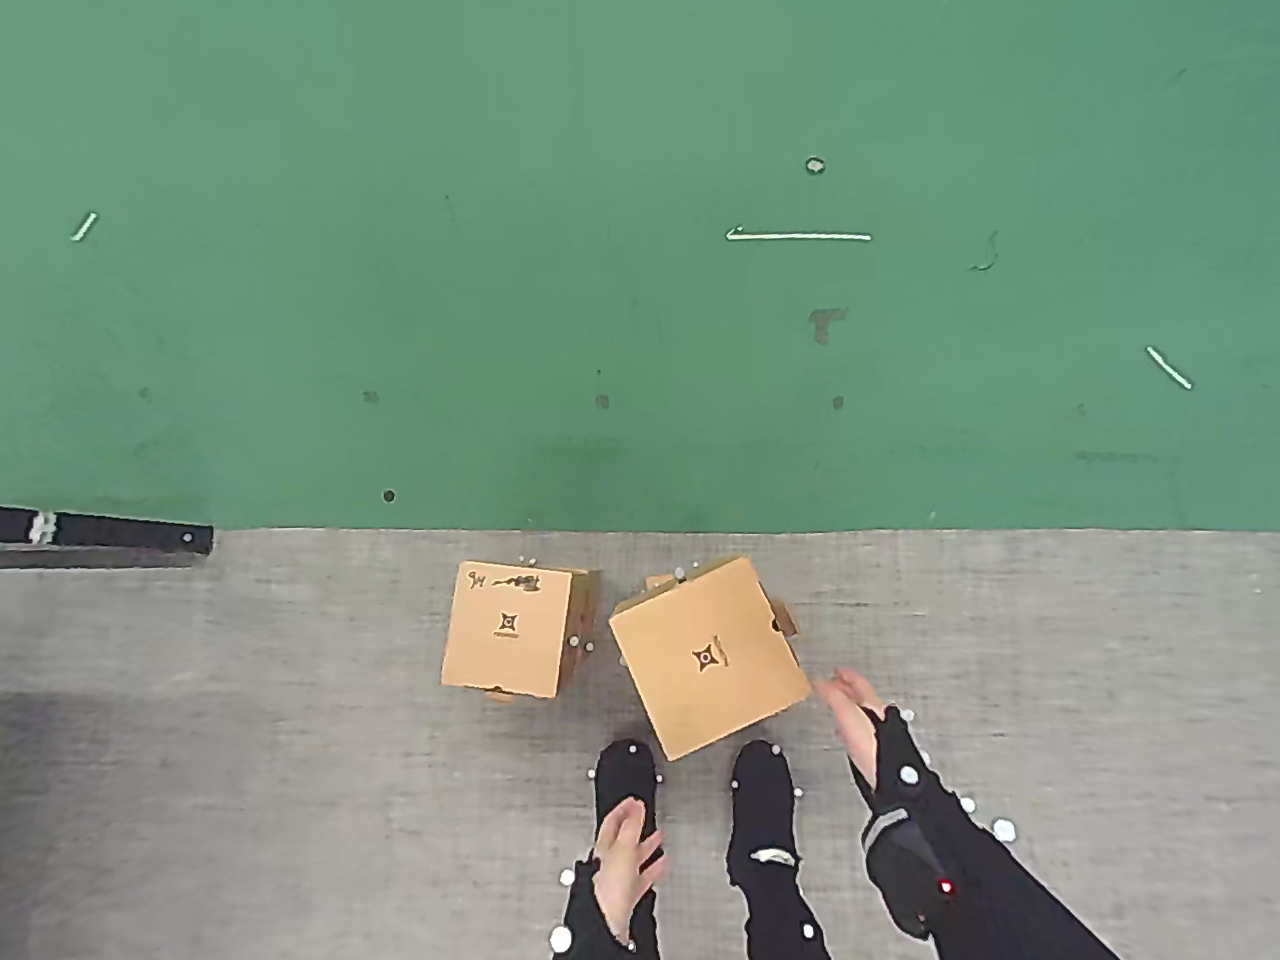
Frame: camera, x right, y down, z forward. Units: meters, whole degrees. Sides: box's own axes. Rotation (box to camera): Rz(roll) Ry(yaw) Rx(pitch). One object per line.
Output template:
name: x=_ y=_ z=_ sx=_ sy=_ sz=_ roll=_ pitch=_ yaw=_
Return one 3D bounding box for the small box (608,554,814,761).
small box: x=0.077 y=0.201 z=0.659 sx=0.179 sy=0.176 sz=0.168 roll=-24 pitch=82 yaw=-3
